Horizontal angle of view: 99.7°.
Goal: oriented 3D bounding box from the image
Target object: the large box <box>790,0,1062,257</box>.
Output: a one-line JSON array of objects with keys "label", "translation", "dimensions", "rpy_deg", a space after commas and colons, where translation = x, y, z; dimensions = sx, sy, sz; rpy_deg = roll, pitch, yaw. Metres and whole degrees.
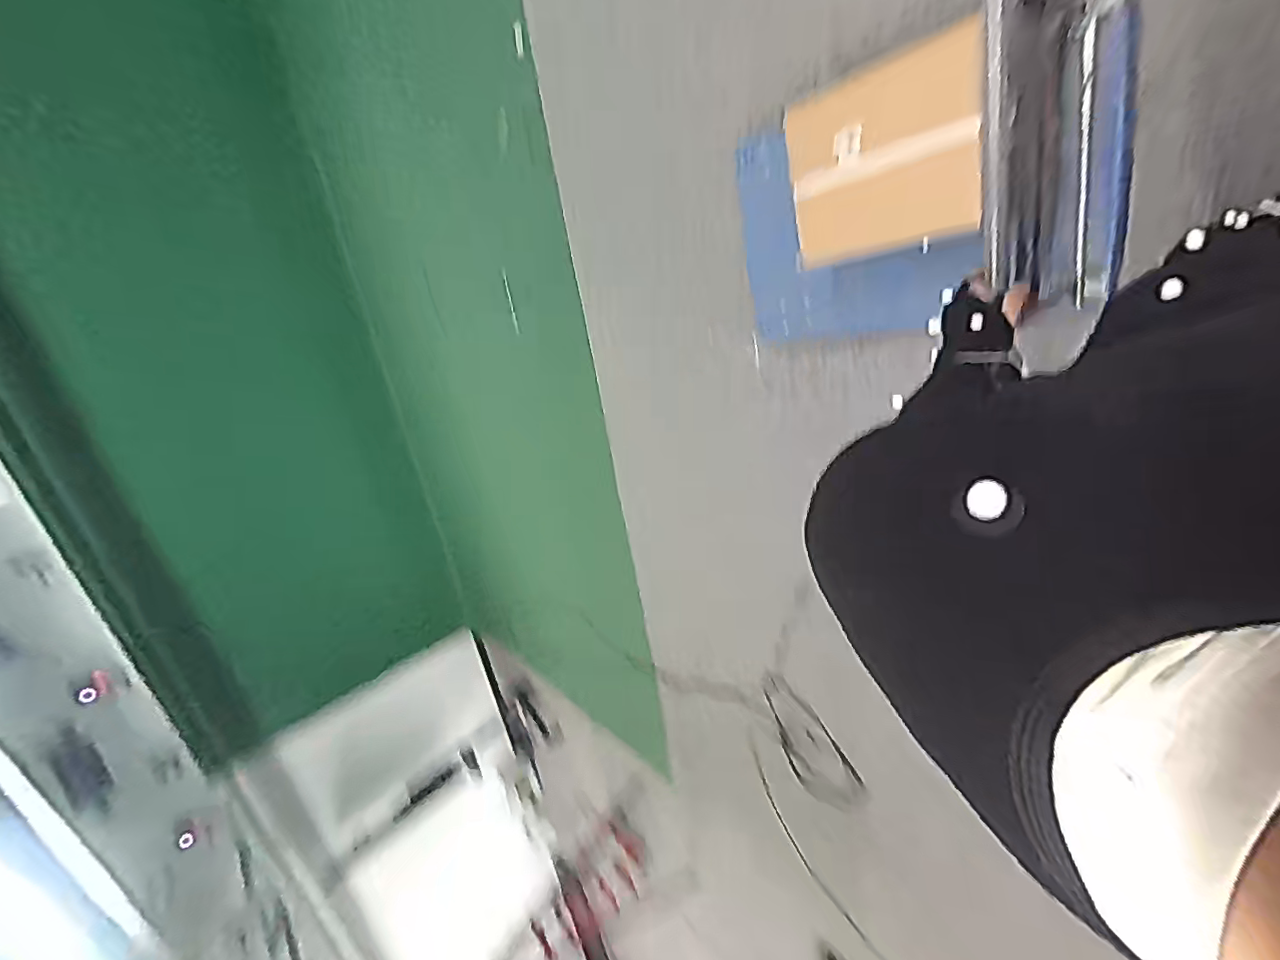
[{"label": "large box", "translation": [0.579, -0.677, 1.103], "dimensions": [0.408, 0.320, 0.320], "rpy_deg": [9, 118, 48]}]
